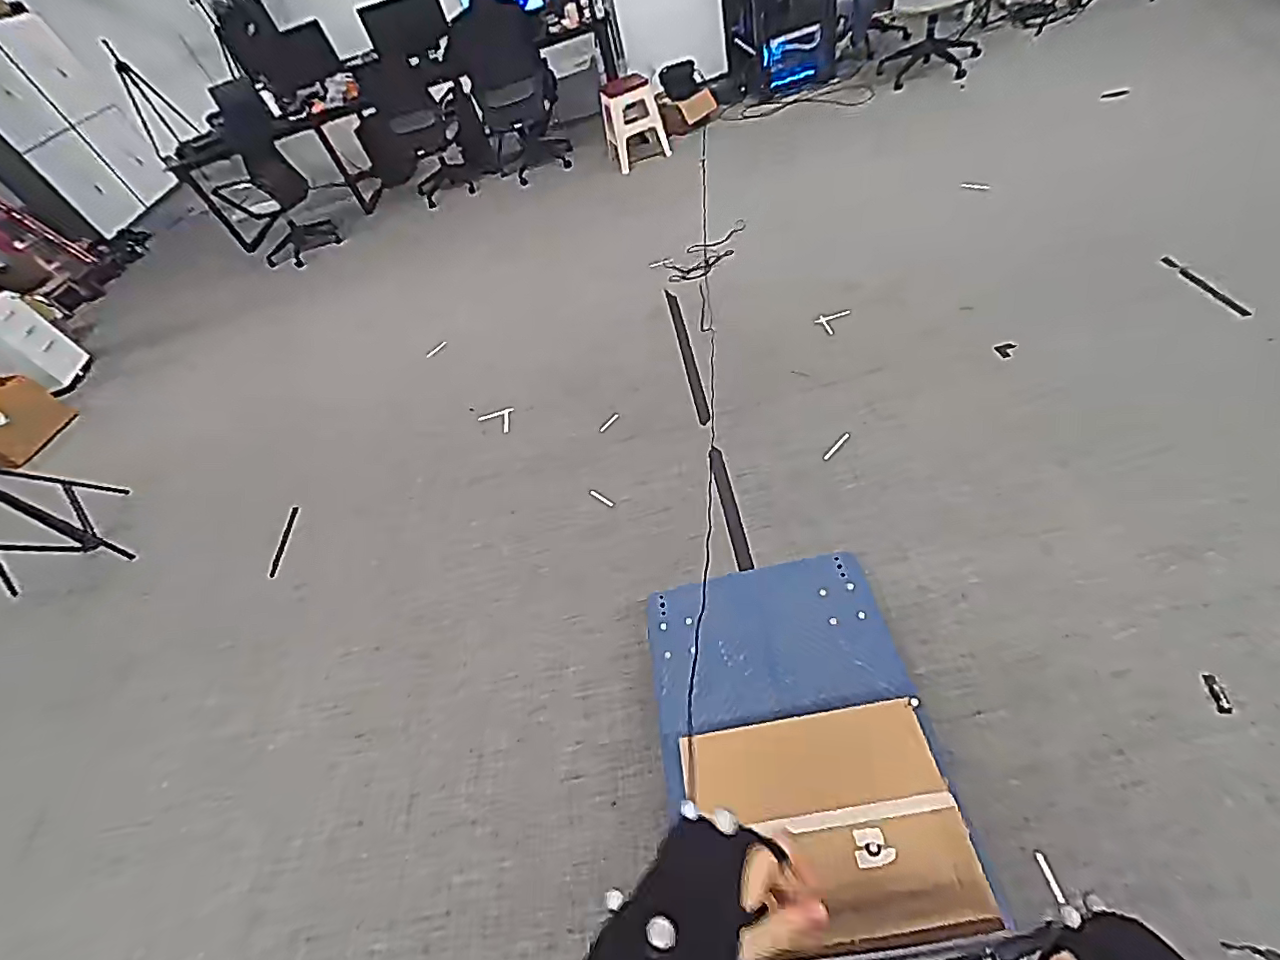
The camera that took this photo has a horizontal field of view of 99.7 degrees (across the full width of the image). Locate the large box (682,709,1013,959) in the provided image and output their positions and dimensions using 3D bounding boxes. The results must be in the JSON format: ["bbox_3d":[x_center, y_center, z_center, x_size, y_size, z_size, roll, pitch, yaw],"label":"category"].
[{"bbox_3d":[0.312,0.636,0.926,0.408,0.320,0.320,-13,48,6],"label":"large box"}]
